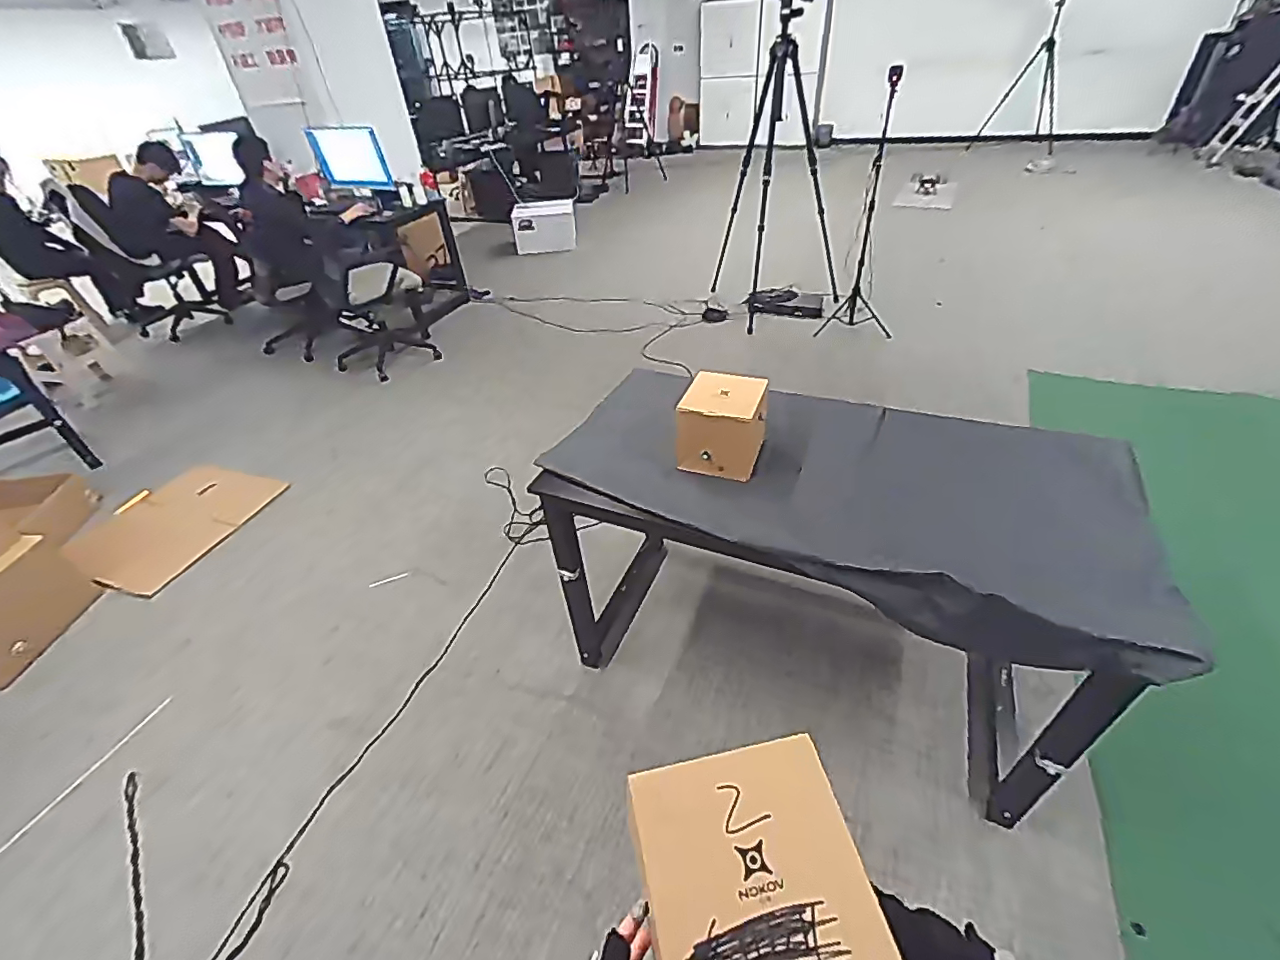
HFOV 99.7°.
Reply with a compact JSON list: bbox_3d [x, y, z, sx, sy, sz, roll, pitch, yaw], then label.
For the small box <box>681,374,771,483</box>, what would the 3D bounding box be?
[{"bbox_3d":[0.196,-0.120,1.252,0.168,0.176,0.179,12,43,19],"label":"small box"}]
